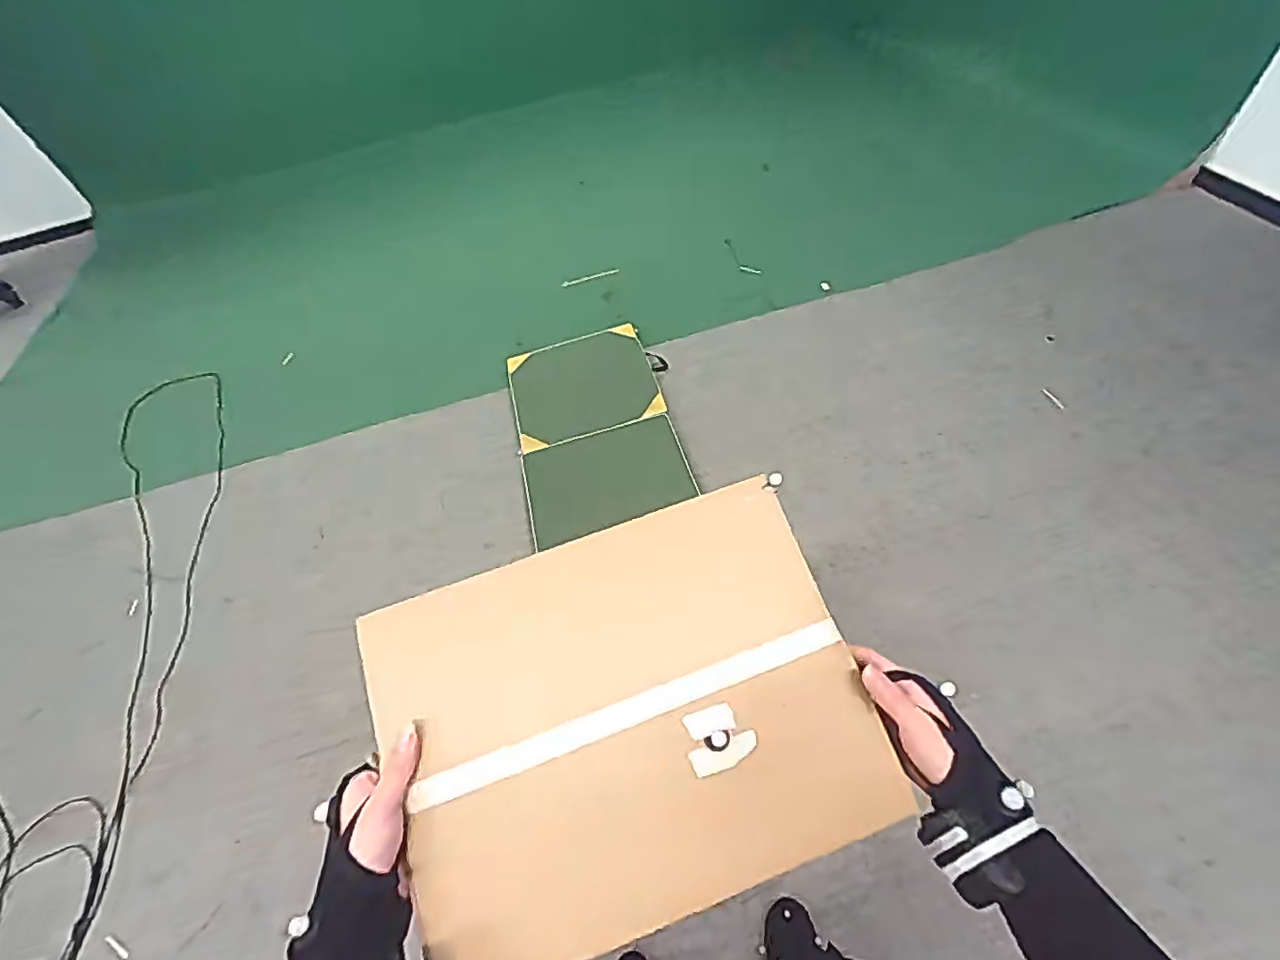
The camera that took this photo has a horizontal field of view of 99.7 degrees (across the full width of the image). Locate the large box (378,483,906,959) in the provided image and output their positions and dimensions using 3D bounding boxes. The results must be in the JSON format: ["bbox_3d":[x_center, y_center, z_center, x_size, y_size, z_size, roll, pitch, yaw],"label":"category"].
[{"bbox_3d":[-0.010,0.250,0.622,0.408,0.320,0.320,-19,74,-7],"label":"large box"}]
